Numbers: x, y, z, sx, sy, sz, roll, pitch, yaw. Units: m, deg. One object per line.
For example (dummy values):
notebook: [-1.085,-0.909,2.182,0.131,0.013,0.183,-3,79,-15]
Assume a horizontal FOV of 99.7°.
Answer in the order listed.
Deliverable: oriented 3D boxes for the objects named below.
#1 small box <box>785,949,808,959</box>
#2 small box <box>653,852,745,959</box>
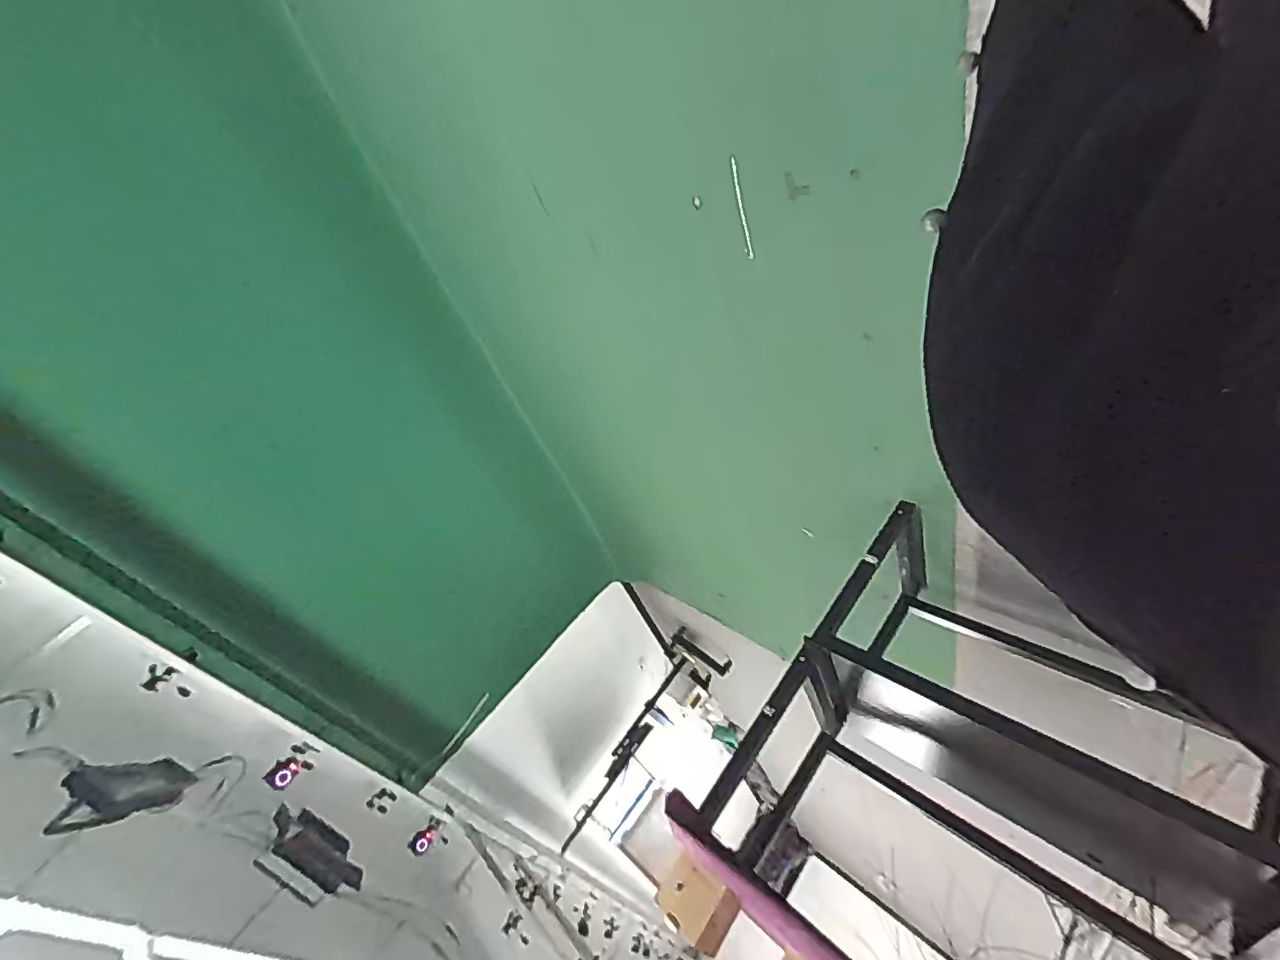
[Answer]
small box: [0.406,1.282,1.304,0.168,0.176,0.179,22,150,39]
small box: [0.172,1.210,1.543,0.168,0.176,0.179,17,147,45]
